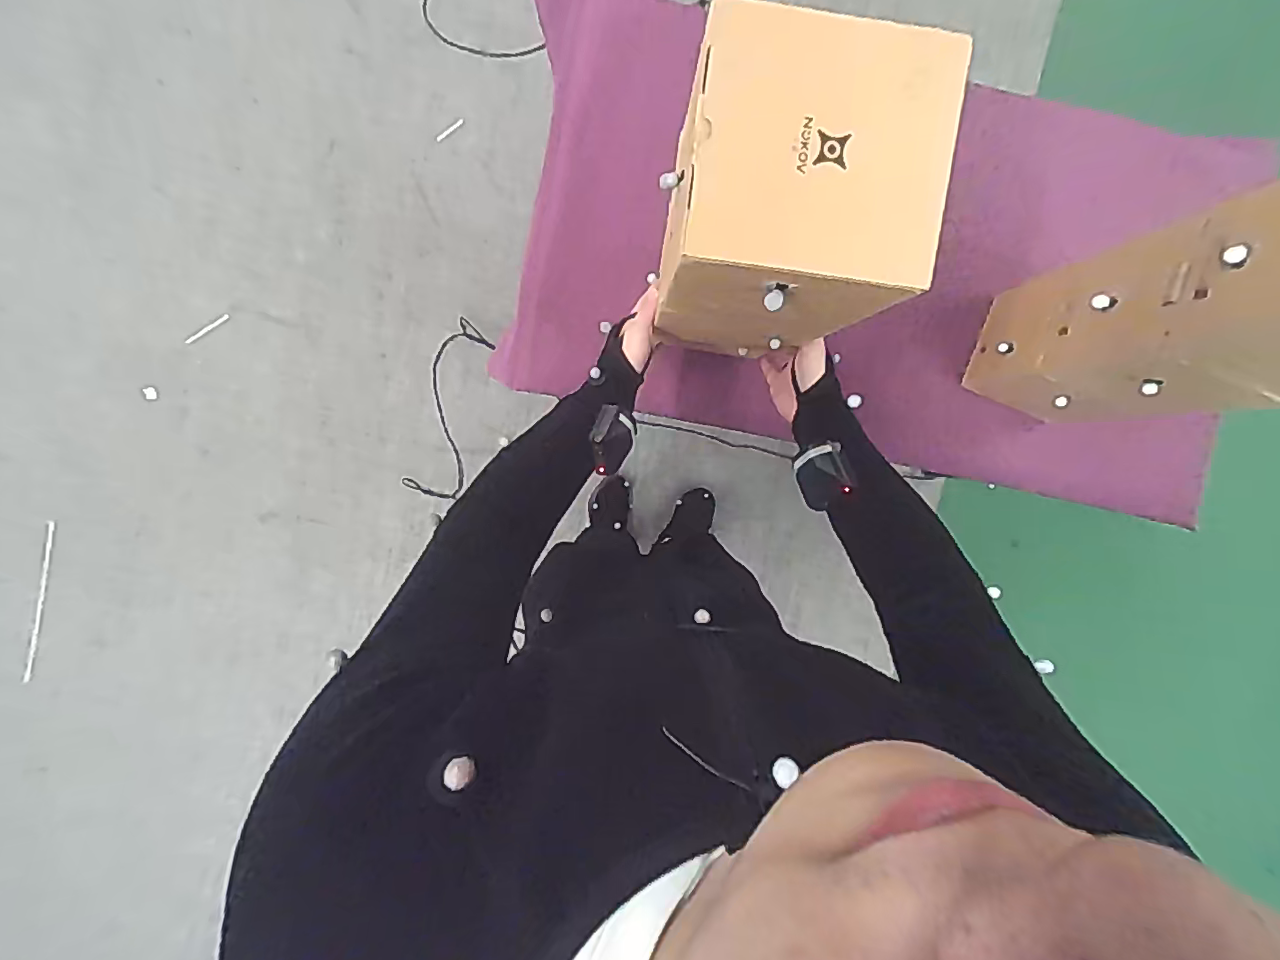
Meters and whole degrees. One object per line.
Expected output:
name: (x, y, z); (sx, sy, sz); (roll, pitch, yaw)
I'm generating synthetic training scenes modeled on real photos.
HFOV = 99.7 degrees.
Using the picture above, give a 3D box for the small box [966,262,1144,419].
small box: (0.651, -0.199, 0.833); (0.179, 0.176, 0.168); (22, 92, -5)

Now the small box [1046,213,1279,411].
small box: (0.661, -0.190, 0.670); (0.179, 0.176, 0.168); (19, 93, -4)

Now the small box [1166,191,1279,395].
small box: (0.674, -0.182, 0.506); (0.179, 0.176, 0.168); (18, 92, -4)

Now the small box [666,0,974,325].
small box: (0.123, -0.228, 0.440); (0.179, 0.176, 0.168); (7, 96, -2)

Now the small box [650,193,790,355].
small box: (0.115, -0.277, 0.764); (0.179, 0.176, 0.168); (9, 96, -2)
